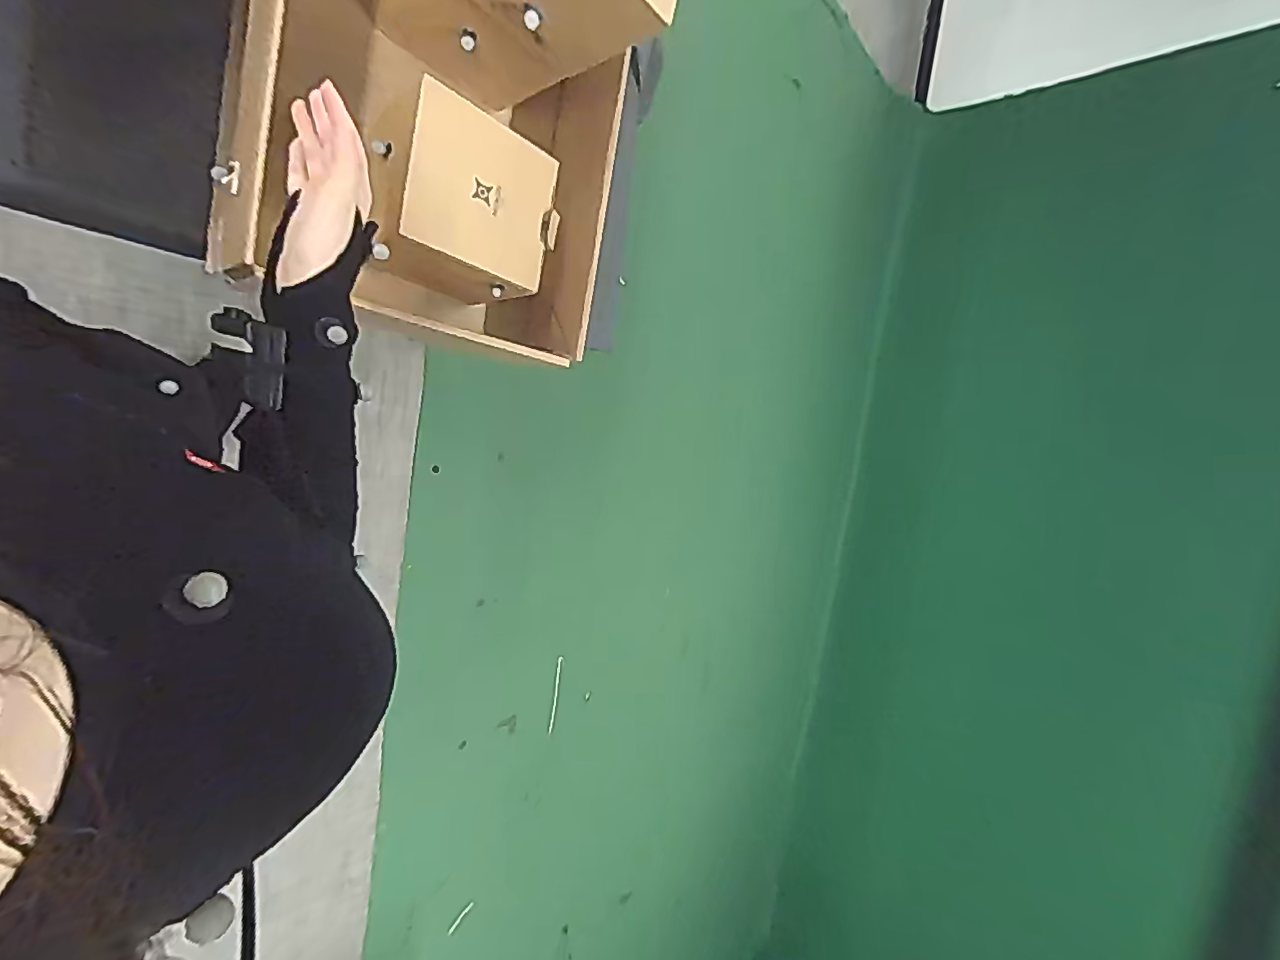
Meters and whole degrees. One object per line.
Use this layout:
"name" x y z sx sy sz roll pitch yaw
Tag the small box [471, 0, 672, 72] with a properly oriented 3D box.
"small box" -0.070 -0.561 0.534 0.168 0.176 0.179 7 97 -47
